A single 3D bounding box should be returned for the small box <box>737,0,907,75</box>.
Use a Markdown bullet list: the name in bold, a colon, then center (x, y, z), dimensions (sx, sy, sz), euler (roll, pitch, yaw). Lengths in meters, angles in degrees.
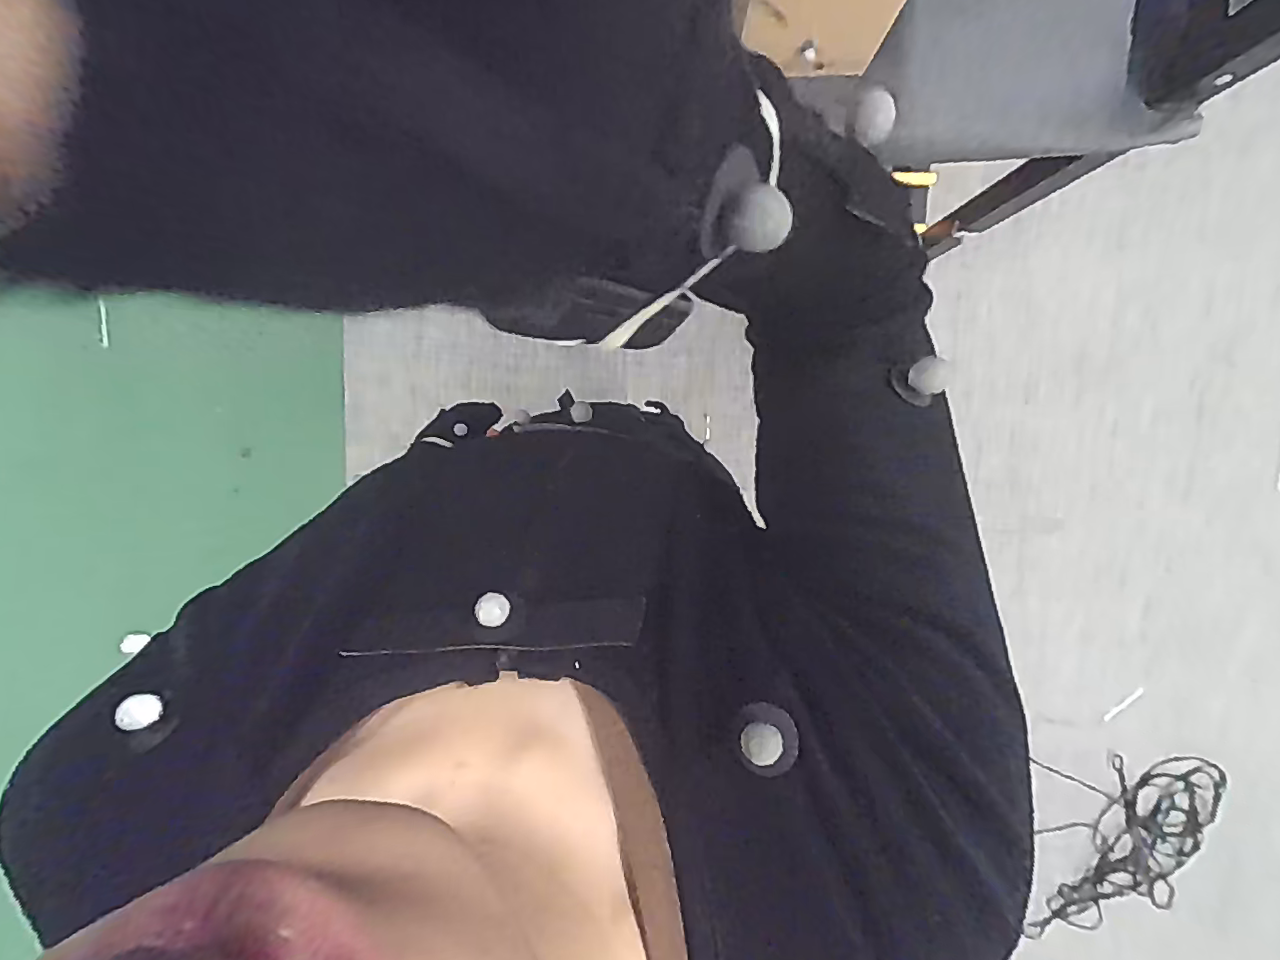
- **small box**: center (0.200, -0.591, 0.594), dimensions (0.168, 0.176, 0.179), euler (0, 96, 2)
